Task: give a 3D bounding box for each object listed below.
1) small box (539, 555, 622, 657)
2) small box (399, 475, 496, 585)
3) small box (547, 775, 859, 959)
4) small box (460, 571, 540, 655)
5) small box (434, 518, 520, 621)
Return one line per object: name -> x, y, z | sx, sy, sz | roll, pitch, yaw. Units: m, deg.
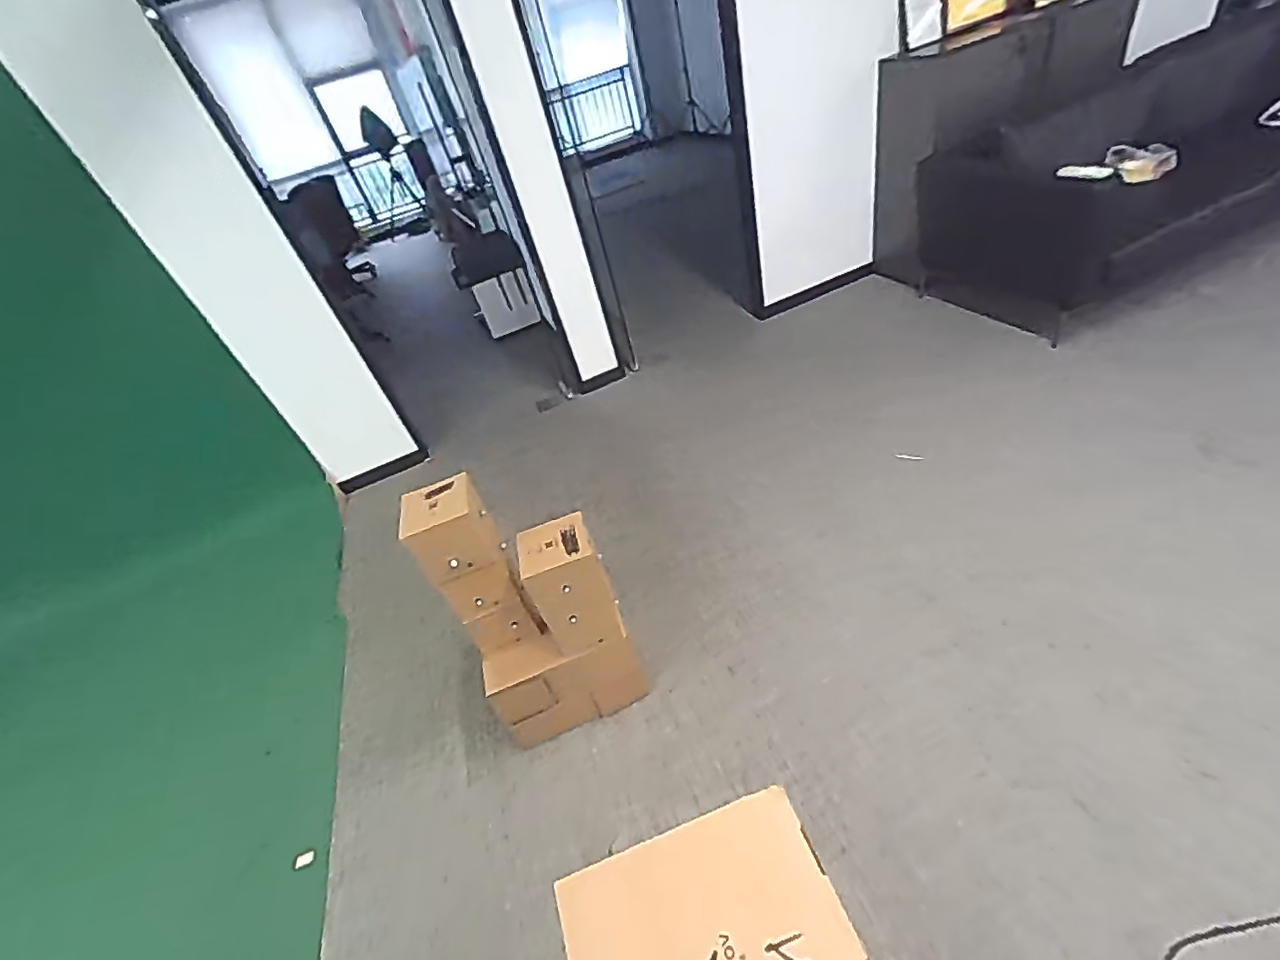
small box -> -0.162, 0.342, 1.463 | 0.168, 0.176, 0.179 | -21, 36, -4
small box -> -0.467, 0.122, 1.324 | 0.168, 0.176, 0.179 | -22, 38, -5
small box -> 0.051, 0.351, 0.387 | 0.179, 0.176, 0.168 | -18, 46, -9
small box -> -0.396, 0.367, 1.529 | 0.168, 0.176, 0.179 | -22, 36, -6
small box -> -0.432, 0.239, 1.433 | 0.168, 0.176, 0.179 | -22, 39, -6
